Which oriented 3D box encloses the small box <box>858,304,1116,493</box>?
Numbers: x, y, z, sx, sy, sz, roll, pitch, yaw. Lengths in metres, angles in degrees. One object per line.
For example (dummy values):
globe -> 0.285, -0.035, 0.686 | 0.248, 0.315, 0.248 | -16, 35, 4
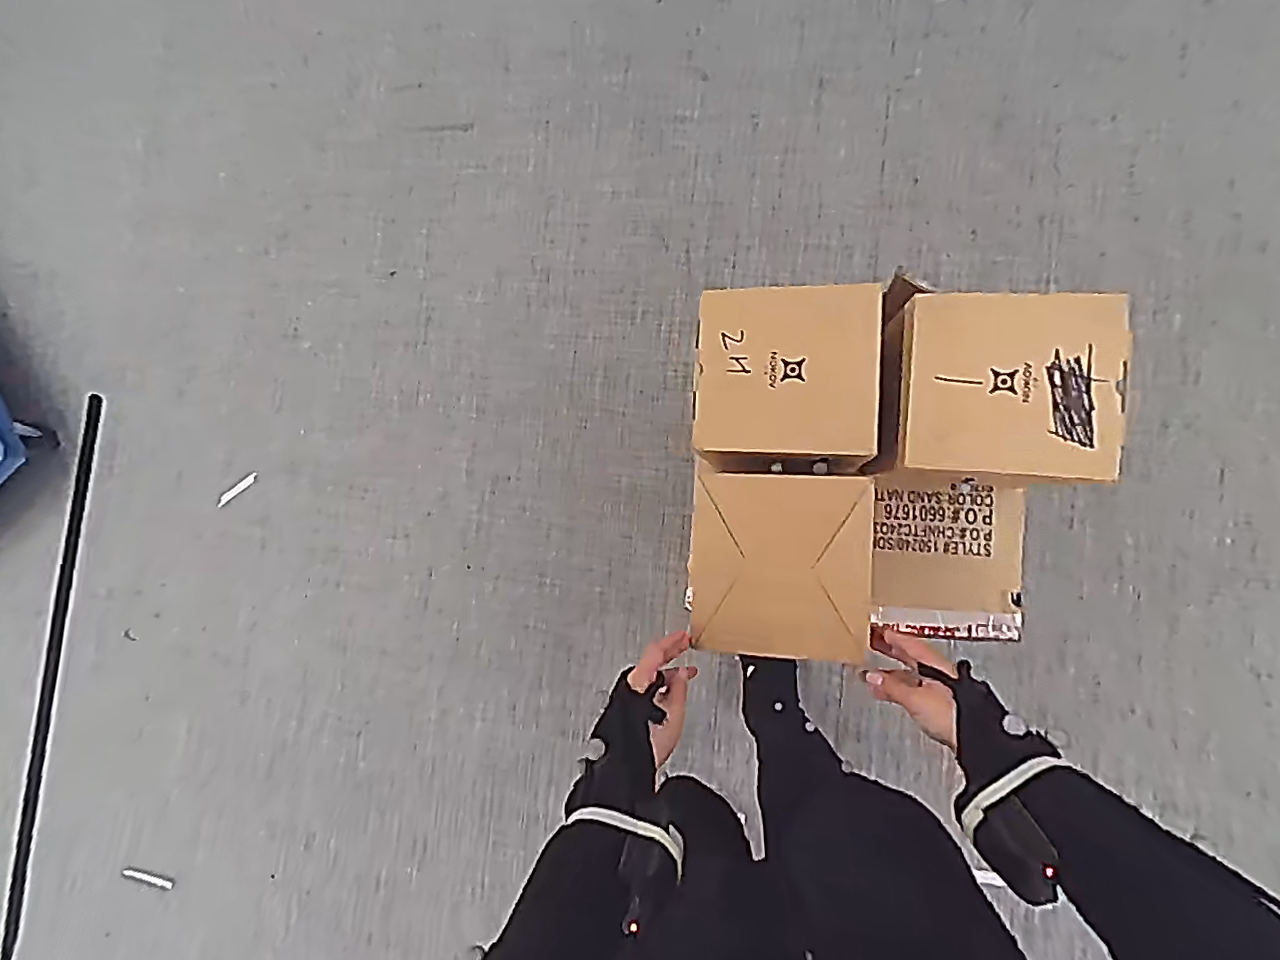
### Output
small box -> 0.344, -0.075, 0.570 | 0.179, 0.176, 0.168 | 4, 88, 11
